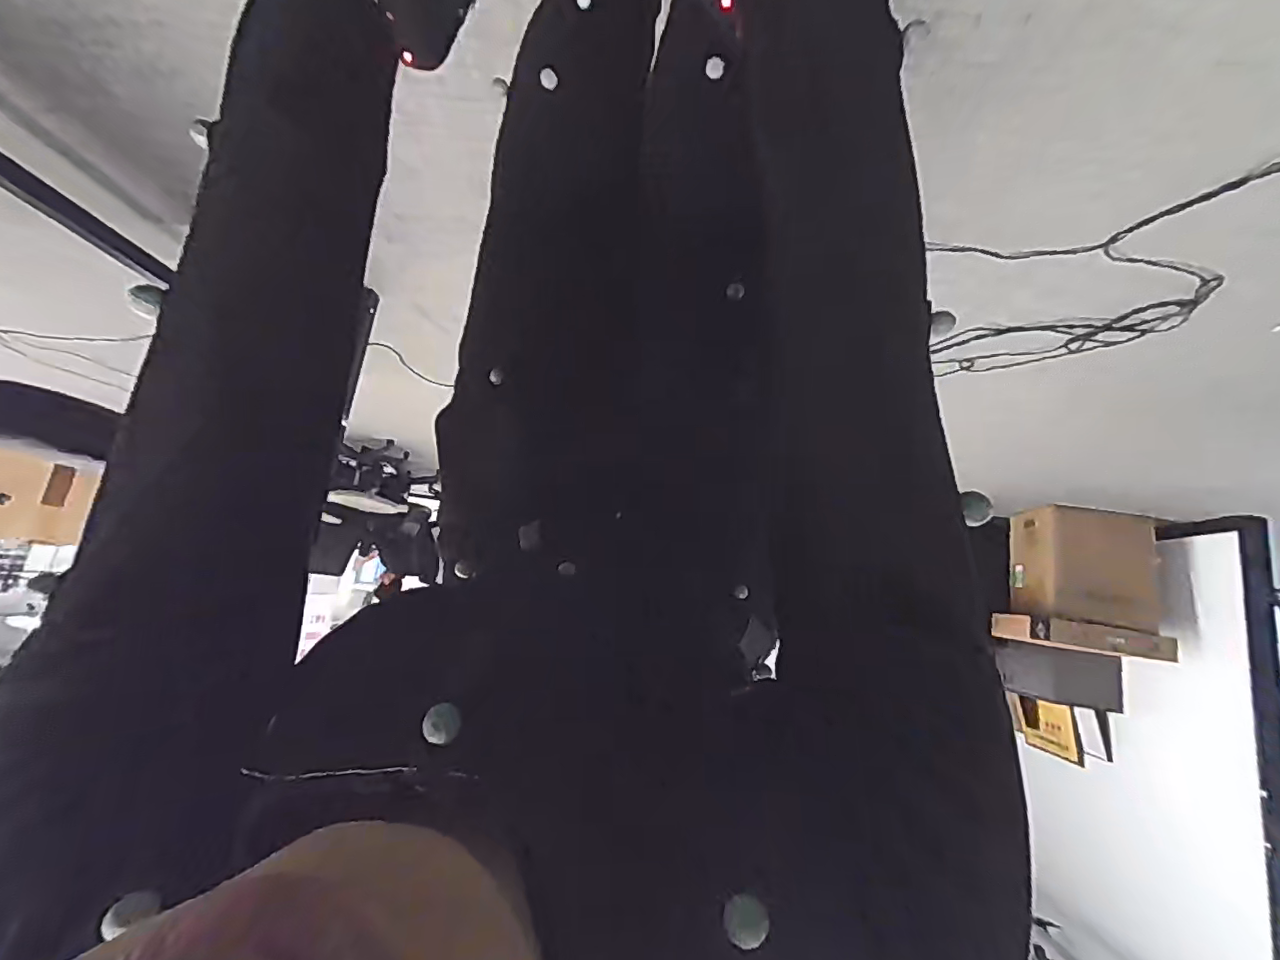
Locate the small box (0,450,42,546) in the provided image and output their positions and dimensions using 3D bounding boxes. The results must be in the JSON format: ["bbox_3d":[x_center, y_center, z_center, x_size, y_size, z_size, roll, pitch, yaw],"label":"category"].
[{"bbox_3d":[-1.219,0.014,0.943,0.179,0.176,0.168,8,168,6],"label":"small box"}]

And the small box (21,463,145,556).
[{"bbox_3d":[-1.233,0.060,1.162,0.179,0.176,0.168,7,168,6],"label":"small box"}]
